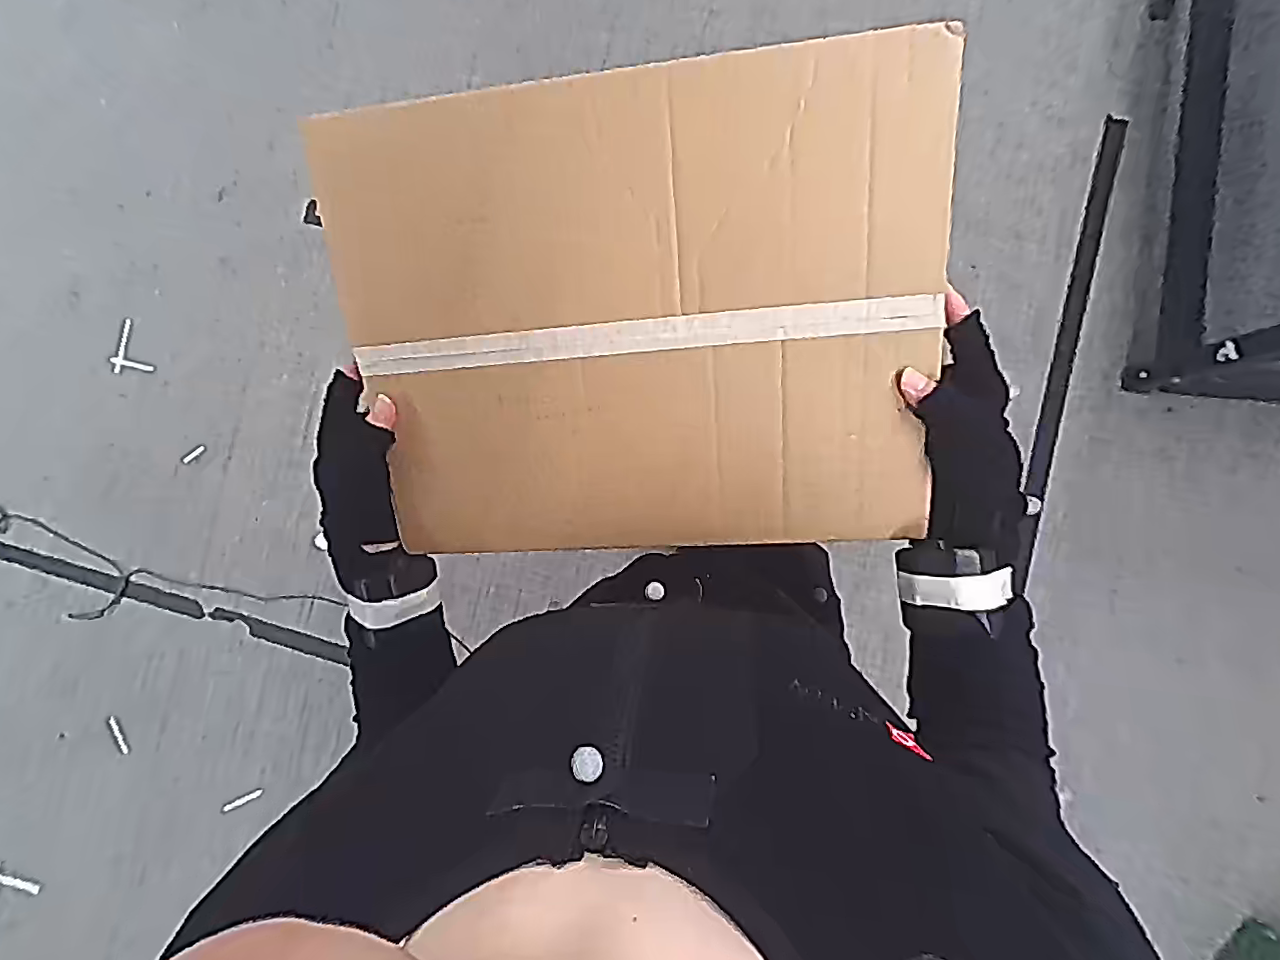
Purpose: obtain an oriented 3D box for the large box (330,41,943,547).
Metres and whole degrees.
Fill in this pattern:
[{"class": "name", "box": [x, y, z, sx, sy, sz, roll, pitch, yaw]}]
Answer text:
[{"class": "large box", "box": [0.010, -0.146, 0.527, 0.408, 0.320, 0.320, -3, 109, 7]}]
